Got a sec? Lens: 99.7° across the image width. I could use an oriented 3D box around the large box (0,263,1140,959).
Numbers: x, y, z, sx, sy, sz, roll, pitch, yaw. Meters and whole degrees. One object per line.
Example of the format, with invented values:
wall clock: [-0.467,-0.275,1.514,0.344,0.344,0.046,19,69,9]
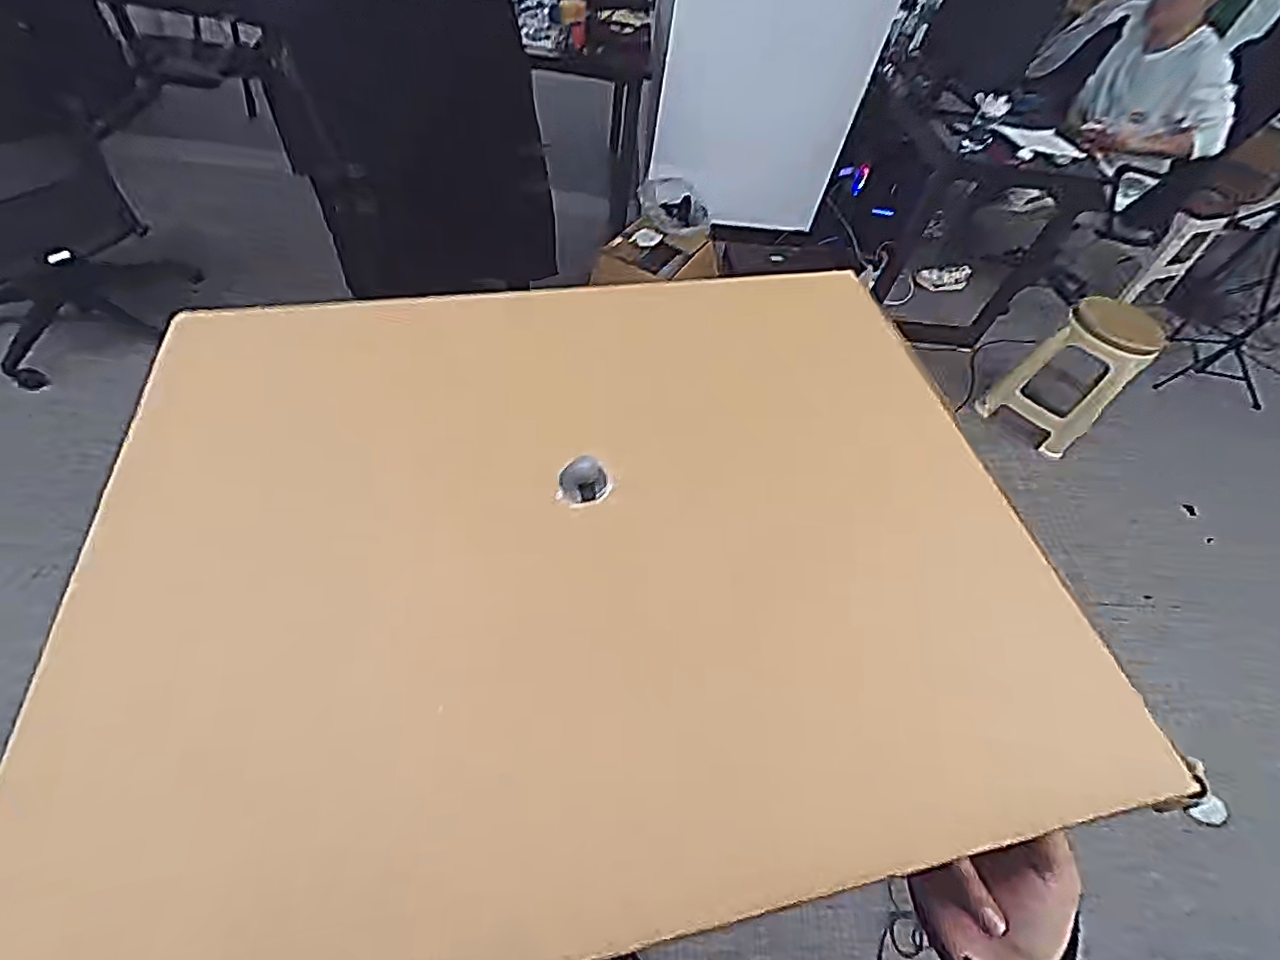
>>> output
large box: [-0.051,0.093,0.368,0.408,0.320,0.320,-10,59,-10]
